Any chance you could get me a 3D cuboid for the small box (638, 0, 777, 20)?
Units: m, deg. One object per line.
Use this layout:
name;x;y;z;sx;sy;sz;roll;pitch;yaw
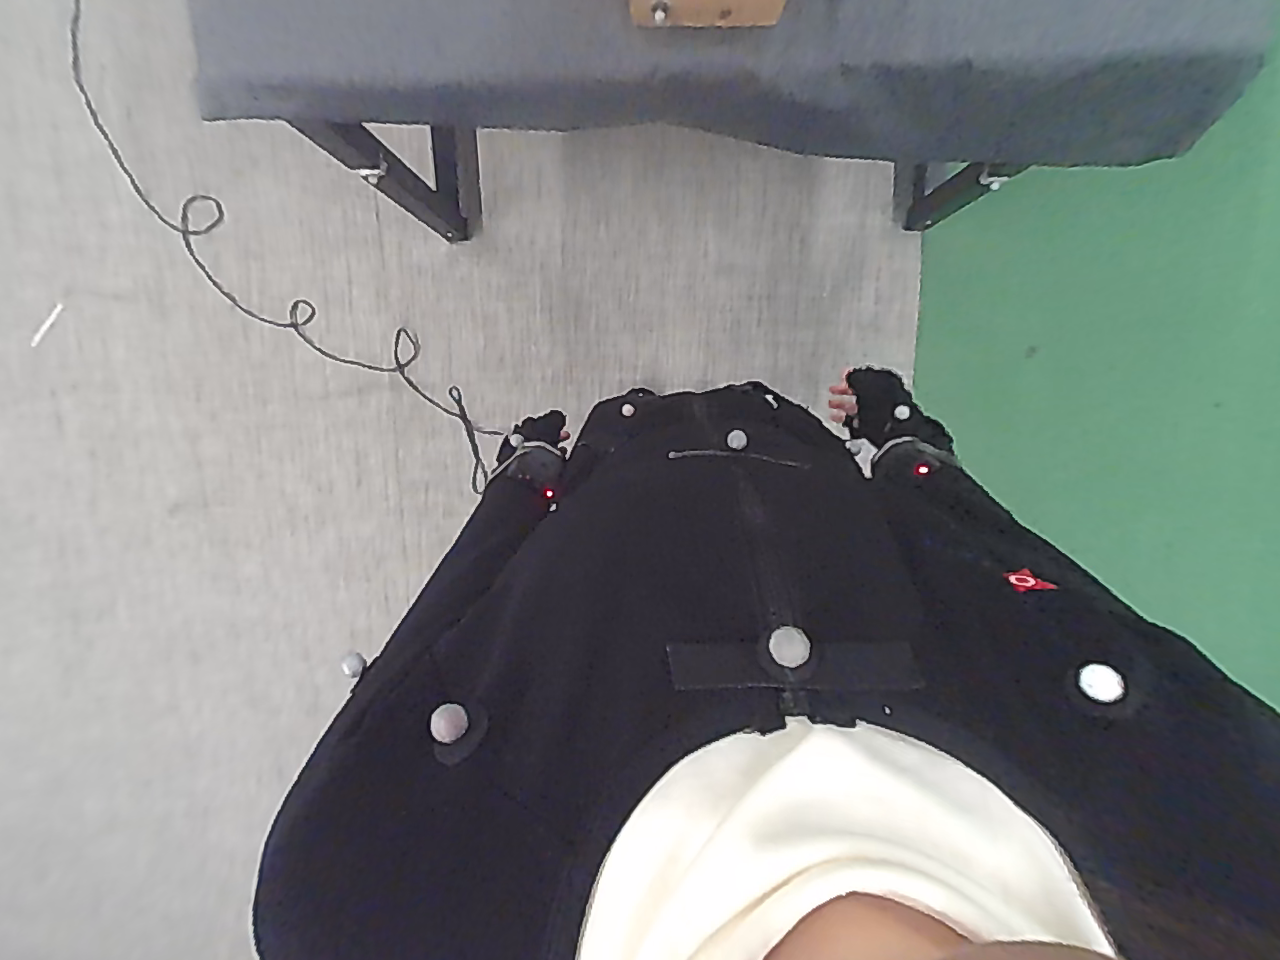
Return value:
small box;0.072;-0.598;0.529;0.168;0.176;0.179;1;97;1
